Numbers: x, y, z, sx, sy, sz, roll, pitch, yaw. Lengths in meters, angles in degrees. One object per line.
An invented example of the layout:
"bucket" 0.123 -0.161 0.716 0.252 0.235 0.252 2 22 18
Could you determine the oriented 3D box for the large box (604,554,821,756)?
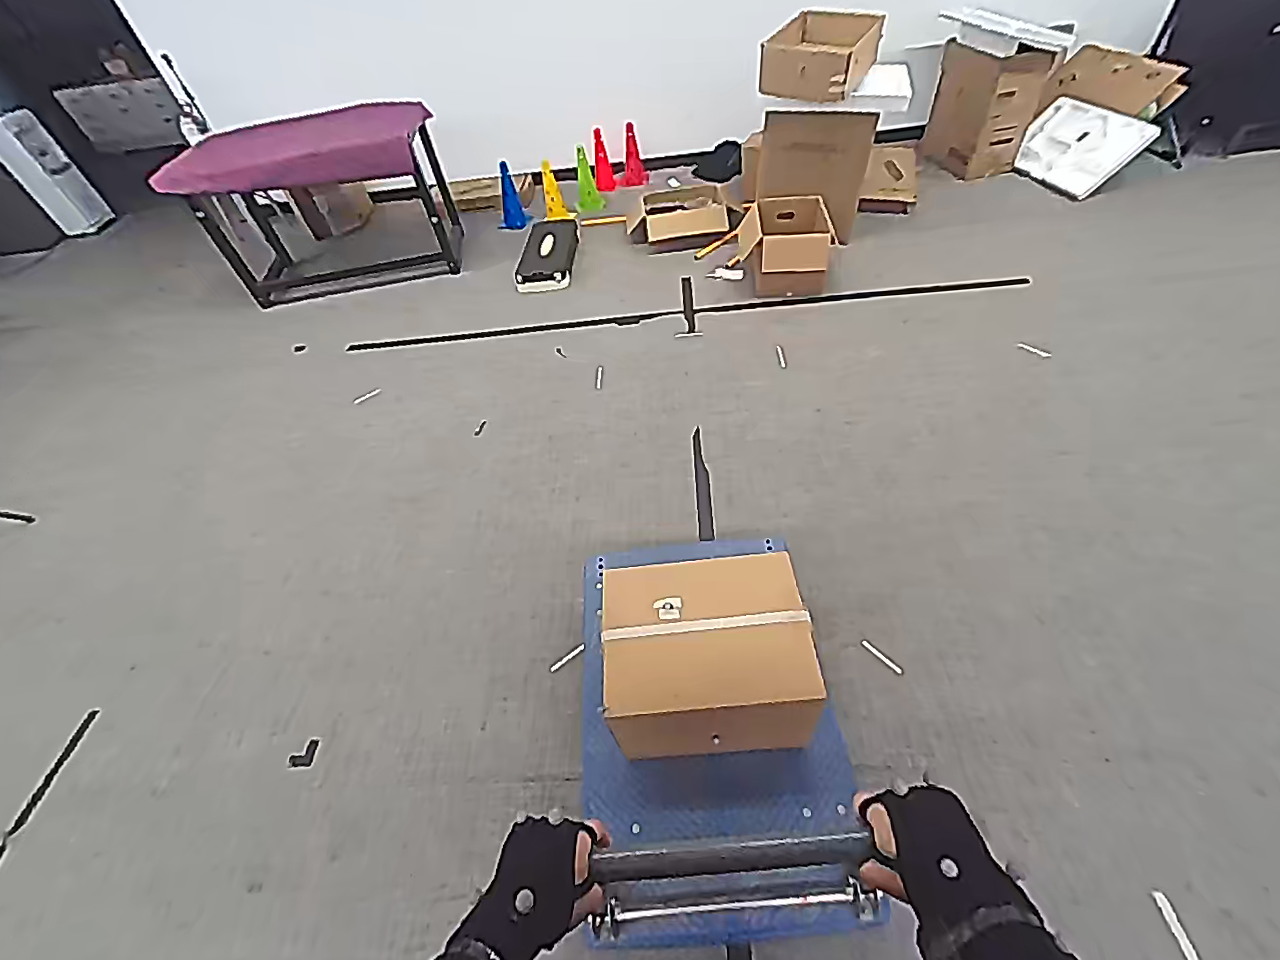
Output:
"large box" 0.147 0.397 1.205 0.408 0.320 0.320 -8 48 3
